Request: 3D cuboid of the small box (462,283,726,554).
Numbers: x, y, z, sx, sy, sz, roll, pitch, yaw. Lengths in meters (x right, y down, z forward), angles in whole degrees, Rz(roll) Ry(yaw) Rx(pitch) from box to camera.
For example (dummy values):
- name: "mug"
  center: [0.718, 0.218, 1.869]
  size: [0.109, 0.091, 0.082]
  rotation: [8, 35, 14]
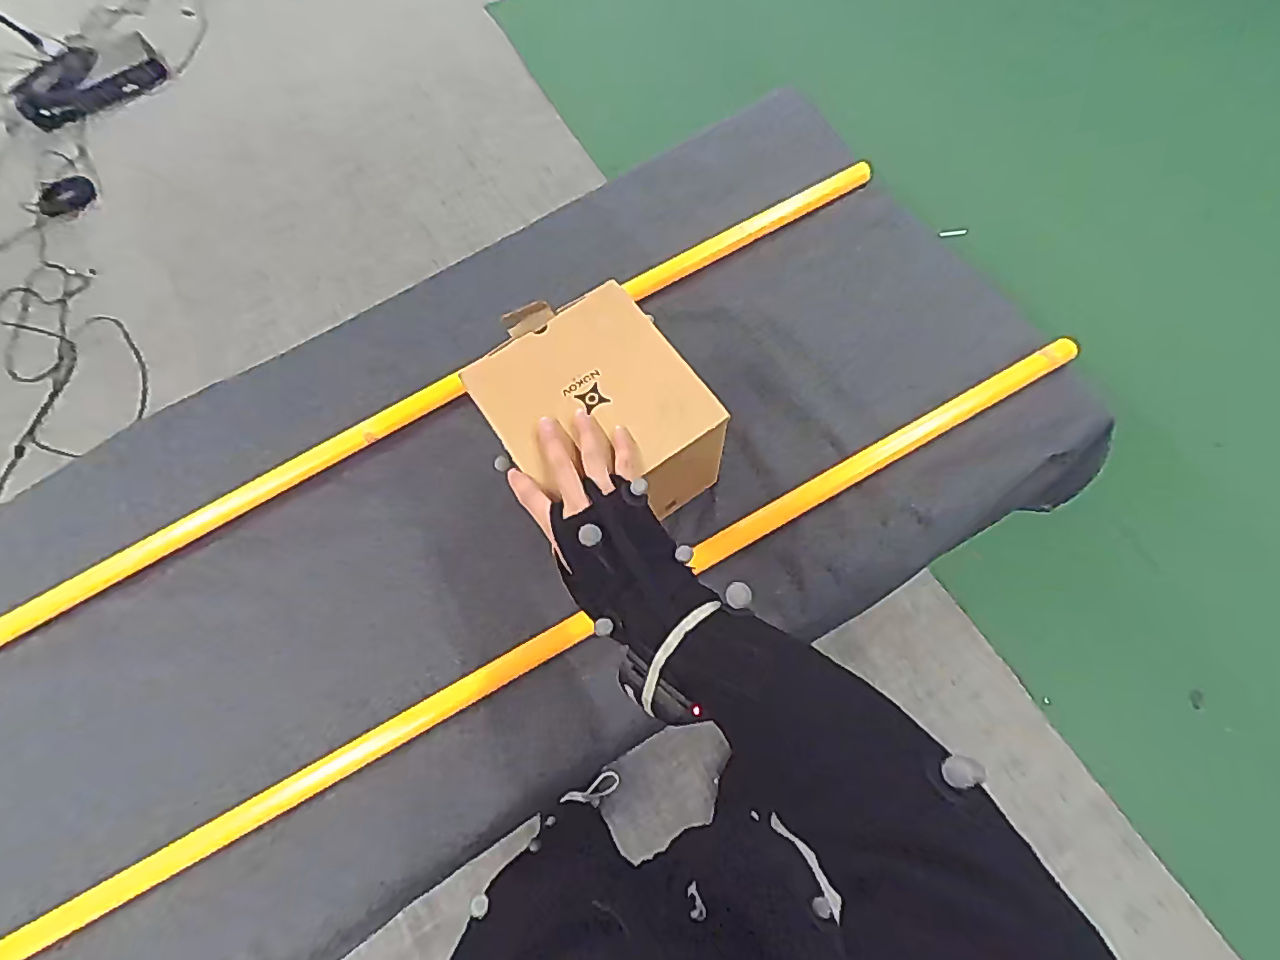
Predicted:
- name: "small box"
  center: [-0.035, -0.044, 0.528]
  size: [0.168, 0.176, 0.179]
  rotation: [-35, 71, -8]
